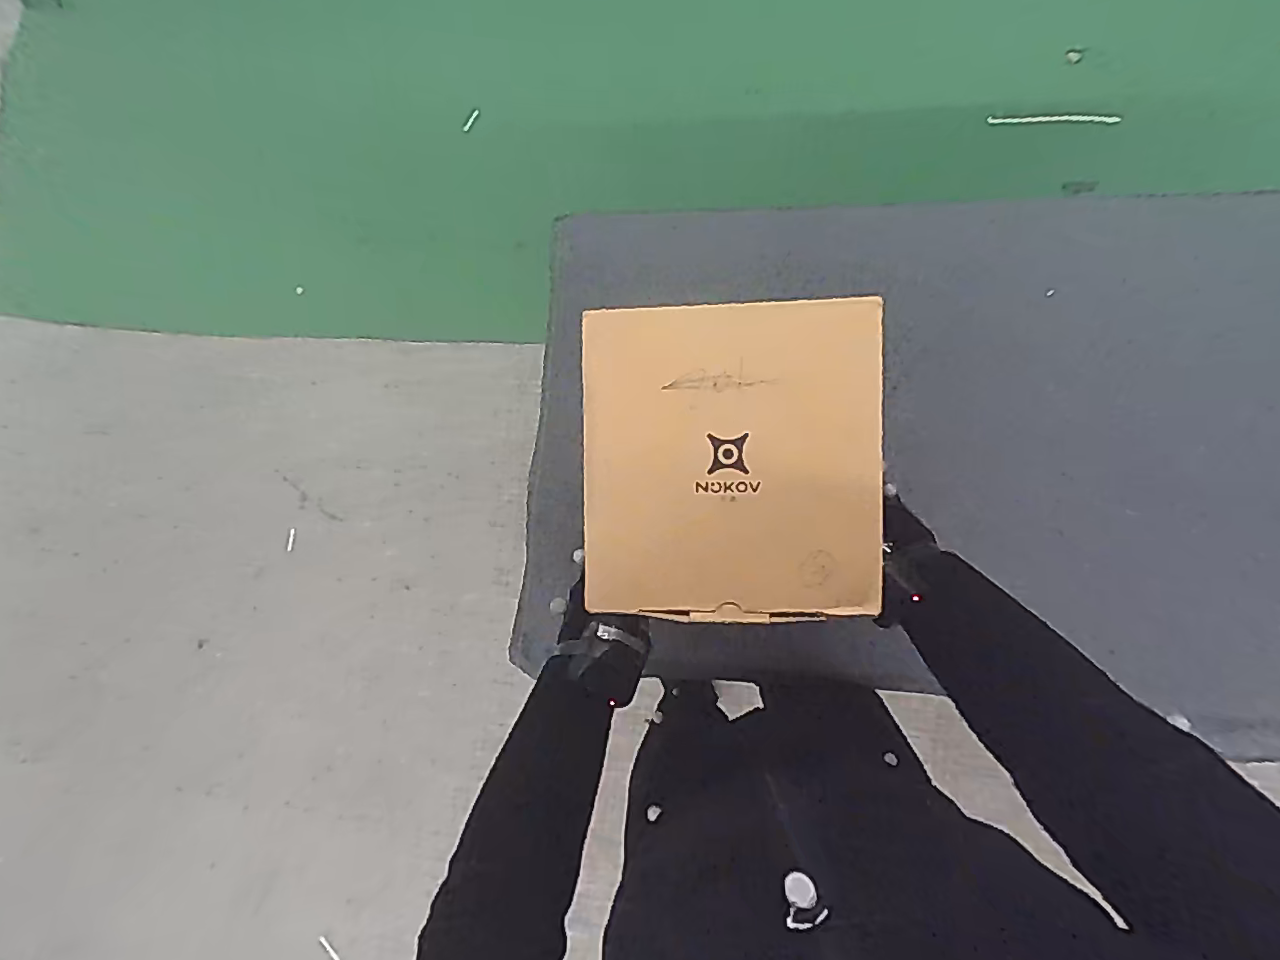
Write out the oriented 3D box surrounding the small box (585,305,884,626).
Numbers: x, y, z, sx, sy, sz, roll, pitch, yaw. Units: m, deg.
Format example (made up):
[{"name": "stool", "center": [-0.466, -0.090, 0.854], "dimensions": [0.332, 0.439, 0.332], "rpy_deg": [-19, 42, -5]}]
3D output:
[{"name": "small box", "center": [0.059, -0.007, 0.379], "dimensions": [0.168, 0.176, 0.179], "rpy_deg": [-1, 90, 6]}]
